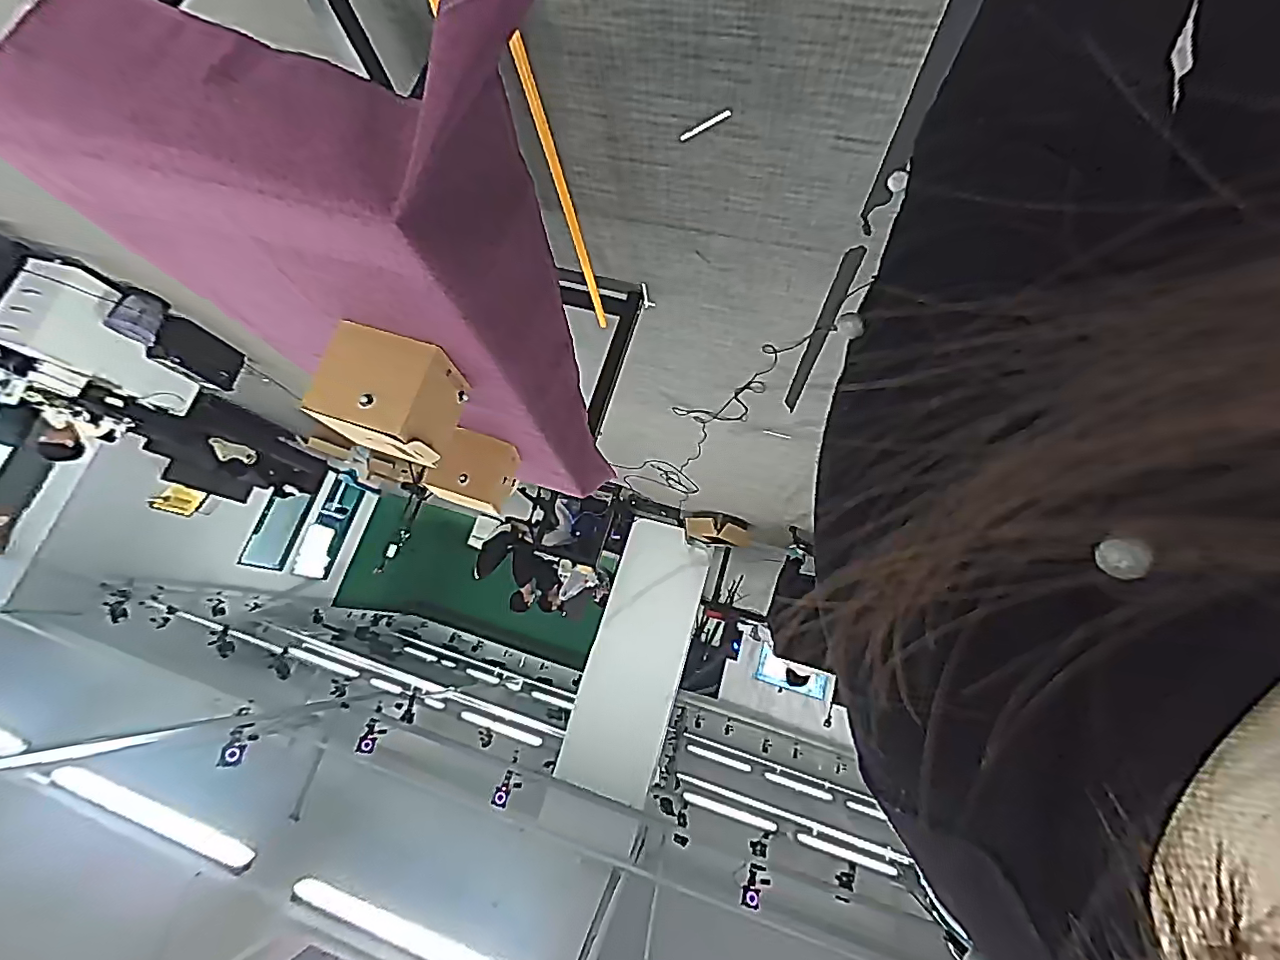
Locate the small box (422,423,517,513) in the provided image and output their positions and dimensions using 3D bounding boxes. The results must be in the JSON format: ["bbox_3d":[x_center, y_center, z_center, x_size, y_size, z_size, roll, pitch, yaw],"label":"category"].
[{"bbox_3d":[-0.426,-0.030,1.387,0.179,0.176,0.168,18,165,-2],"label":"small box"}]

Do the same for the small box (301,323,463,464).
[{"bbox_3d":[-0.429,-0.148,0.937,0.179,0.176,0.168,17,166,6],"label":"small box"}]
